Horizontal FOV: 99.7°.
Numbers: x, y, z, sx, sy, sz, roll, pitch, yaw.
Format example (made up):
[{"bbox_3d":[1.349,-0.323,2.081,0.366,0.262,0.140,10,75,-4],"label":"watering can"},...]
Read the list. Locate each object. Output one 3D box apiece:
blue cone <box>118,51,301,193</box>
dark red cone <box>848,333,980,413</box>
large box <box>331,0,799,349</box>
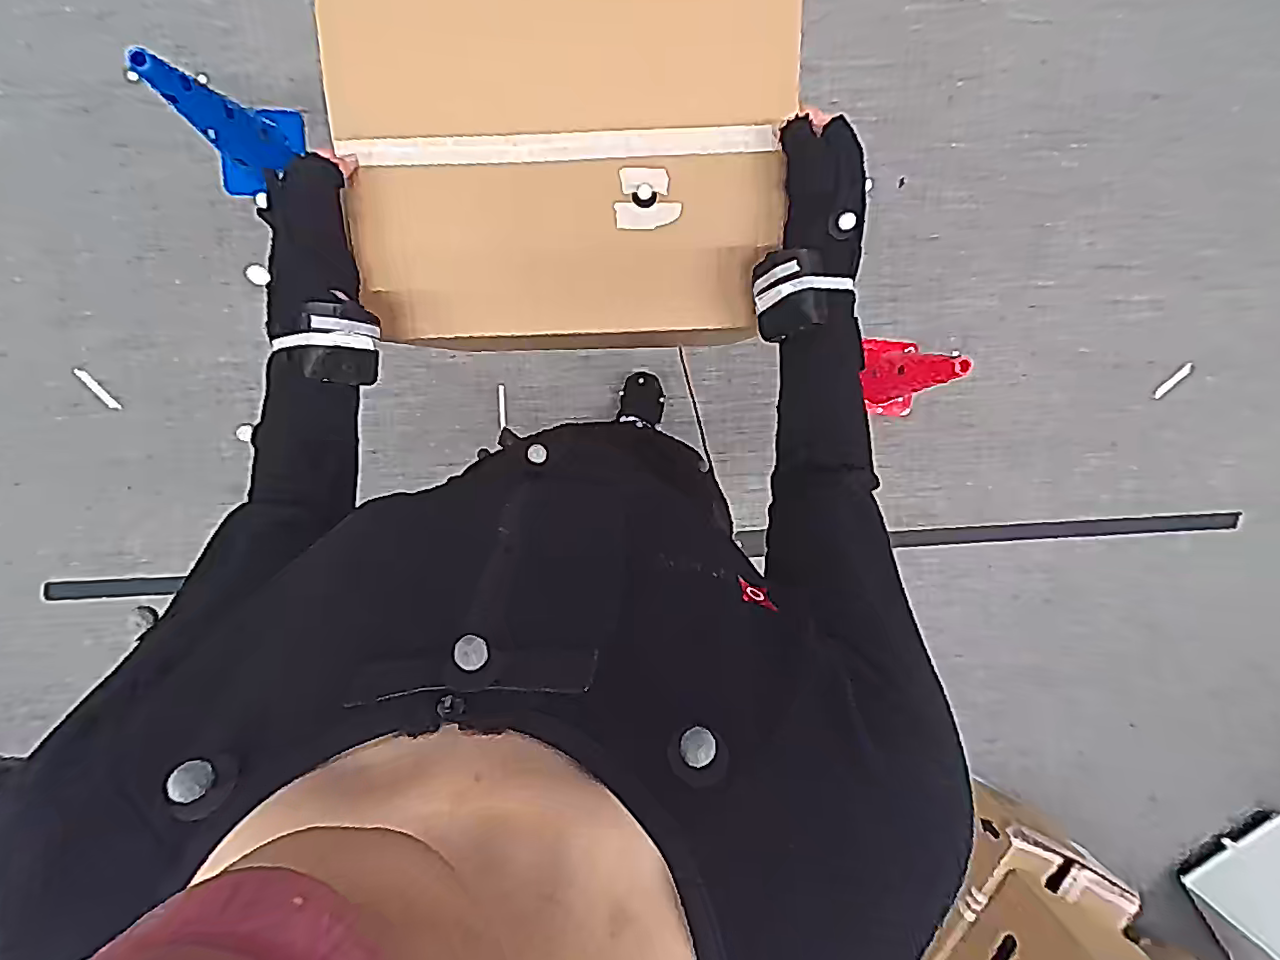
[{"bbox_3d":[-0.922,-0.782,1.160,0.192,0.380,0.193,1,97,-2],"label":"blue cone"},{"bbox_3d":[0.662,-0.264,1.278,0.201,0.394,0.202,4,97,-3],"label":"dark red cone"},{"bbox_3d":[-0.062,-0.325,0.623,0.408,0.320,0.320,-2,101,-1],"label":"large box"}]
